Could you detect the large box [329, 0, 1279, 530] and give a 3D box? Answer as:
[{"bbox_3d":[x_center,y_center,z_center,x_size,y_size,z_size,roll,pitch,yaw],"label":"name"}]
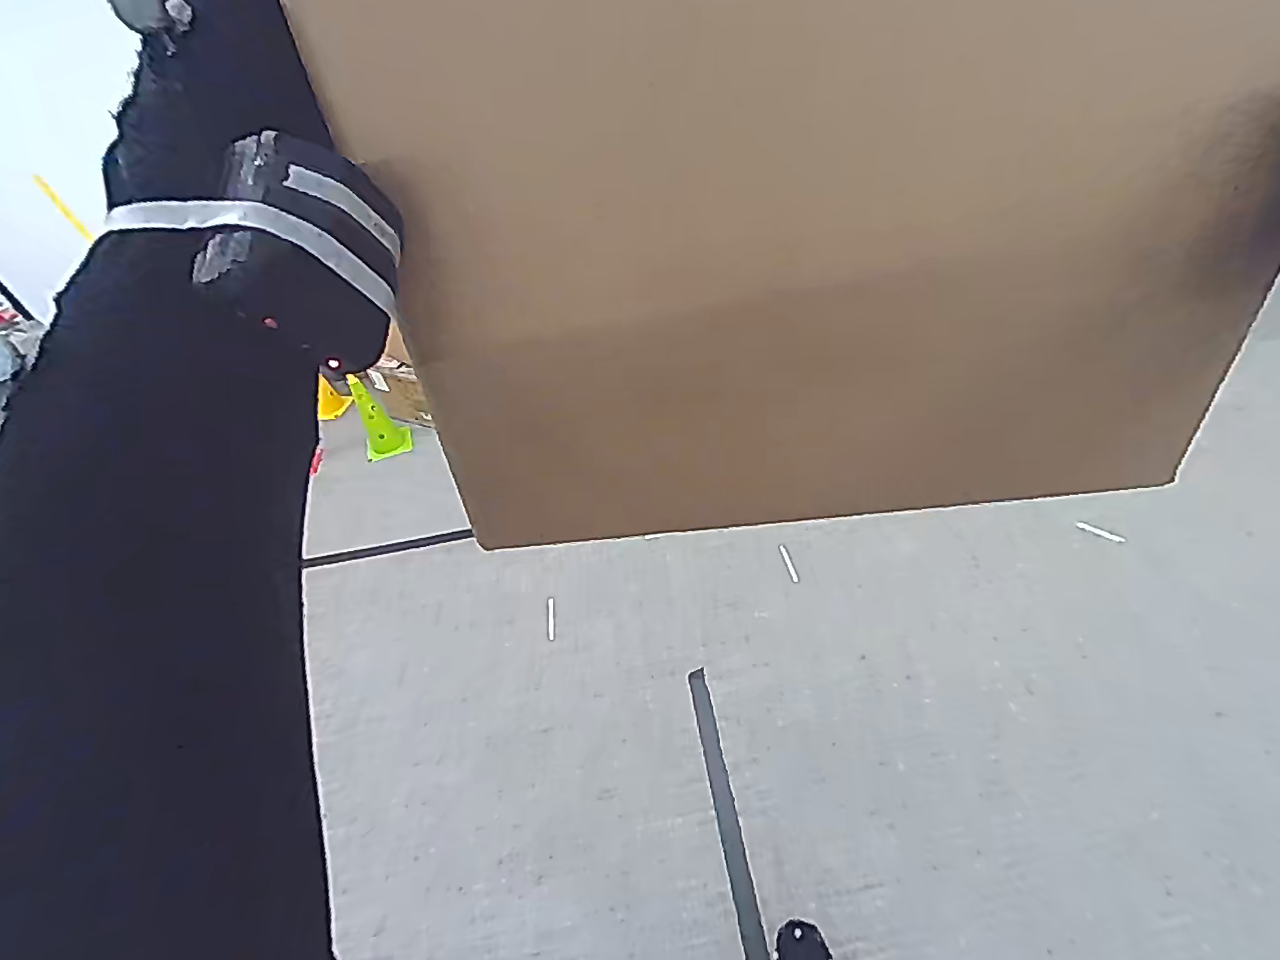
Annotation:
[{"bbox_3d":[0.081,-0.192,0.375,0.408,0.320,0.320,-6,33,1],"label":"large box"}]
